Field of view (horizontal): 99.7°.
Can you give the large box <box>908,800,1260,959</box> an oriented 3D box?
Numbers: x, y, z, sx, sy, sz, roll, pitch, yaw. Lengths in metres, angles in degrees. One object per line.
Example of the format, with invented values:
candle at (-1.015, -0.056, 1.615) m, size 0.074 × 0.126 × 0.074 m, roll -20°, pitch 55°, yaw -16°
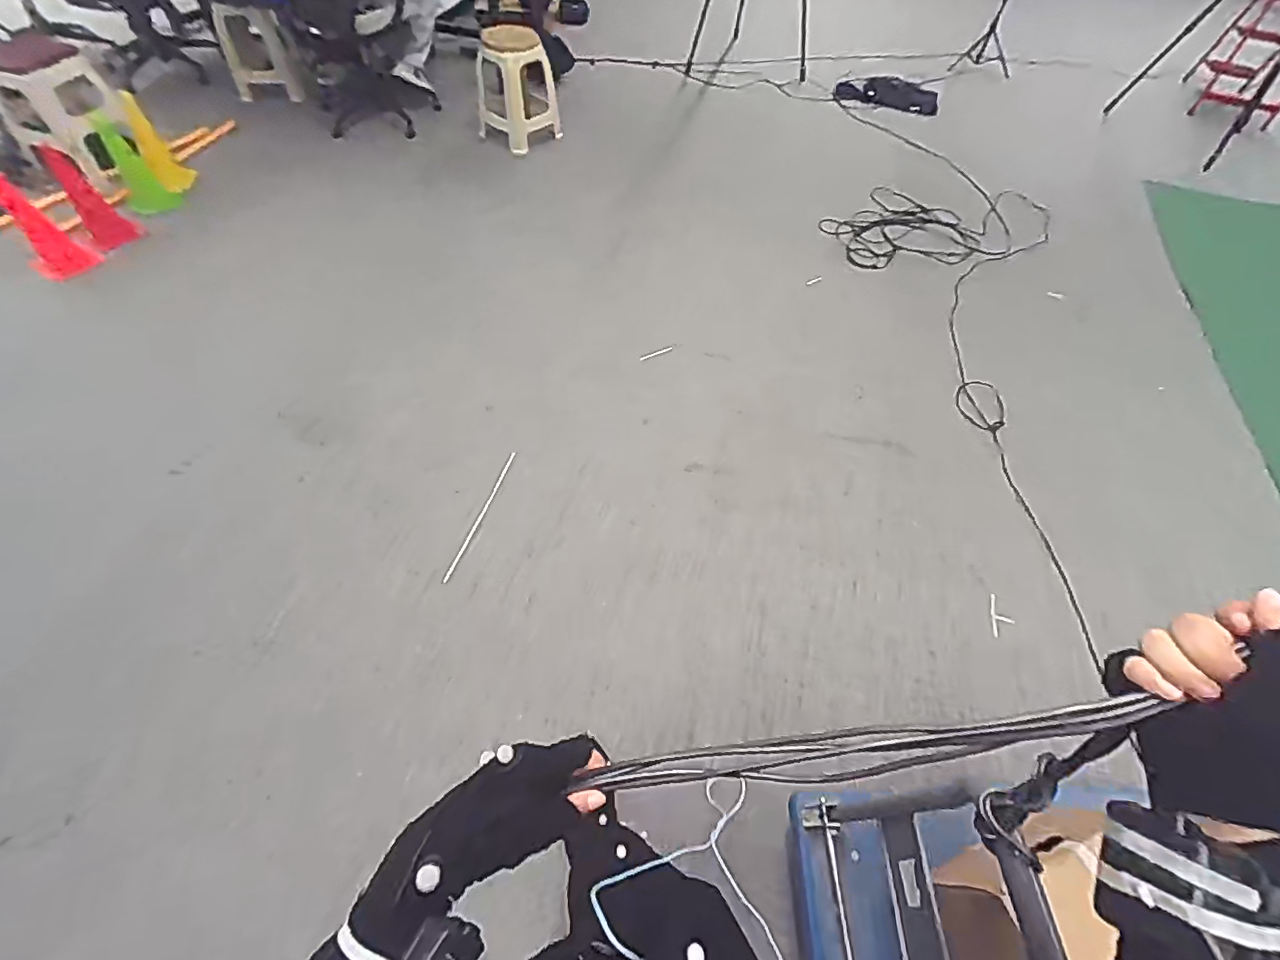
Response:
large box at (0.732, 0.800, 0.863) m, size 0.320 × 0.320 × 0.408 m, roll -17°, pitch 57°, yaw -14°
